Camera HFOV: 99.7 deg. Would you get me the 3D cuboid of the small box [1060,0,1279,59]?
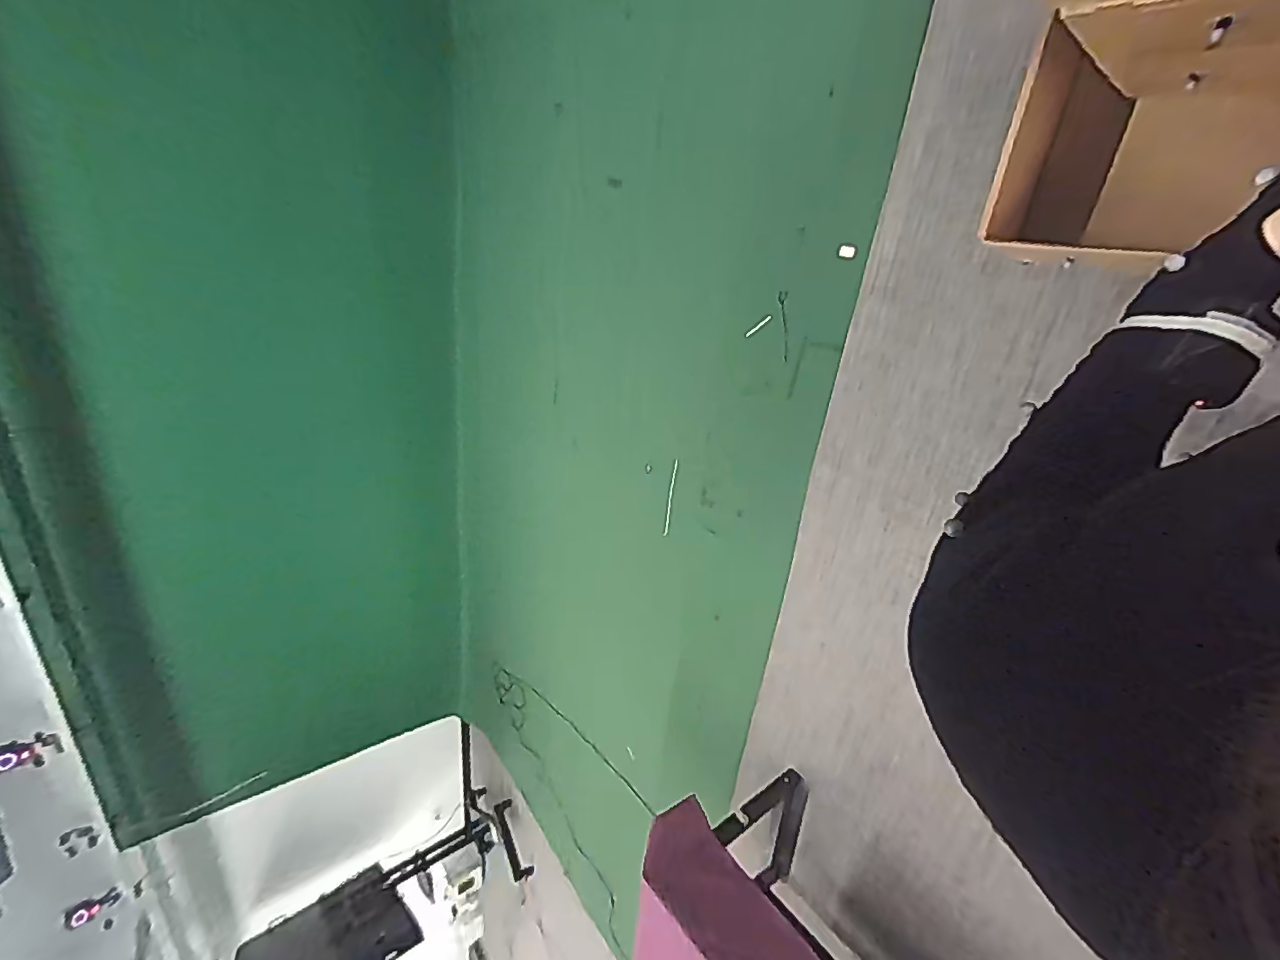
[{"bbox_3d":[0.549,-0.527,0.509,0.168,0.176,0.179,32,123,42],"label":"small box"}]
